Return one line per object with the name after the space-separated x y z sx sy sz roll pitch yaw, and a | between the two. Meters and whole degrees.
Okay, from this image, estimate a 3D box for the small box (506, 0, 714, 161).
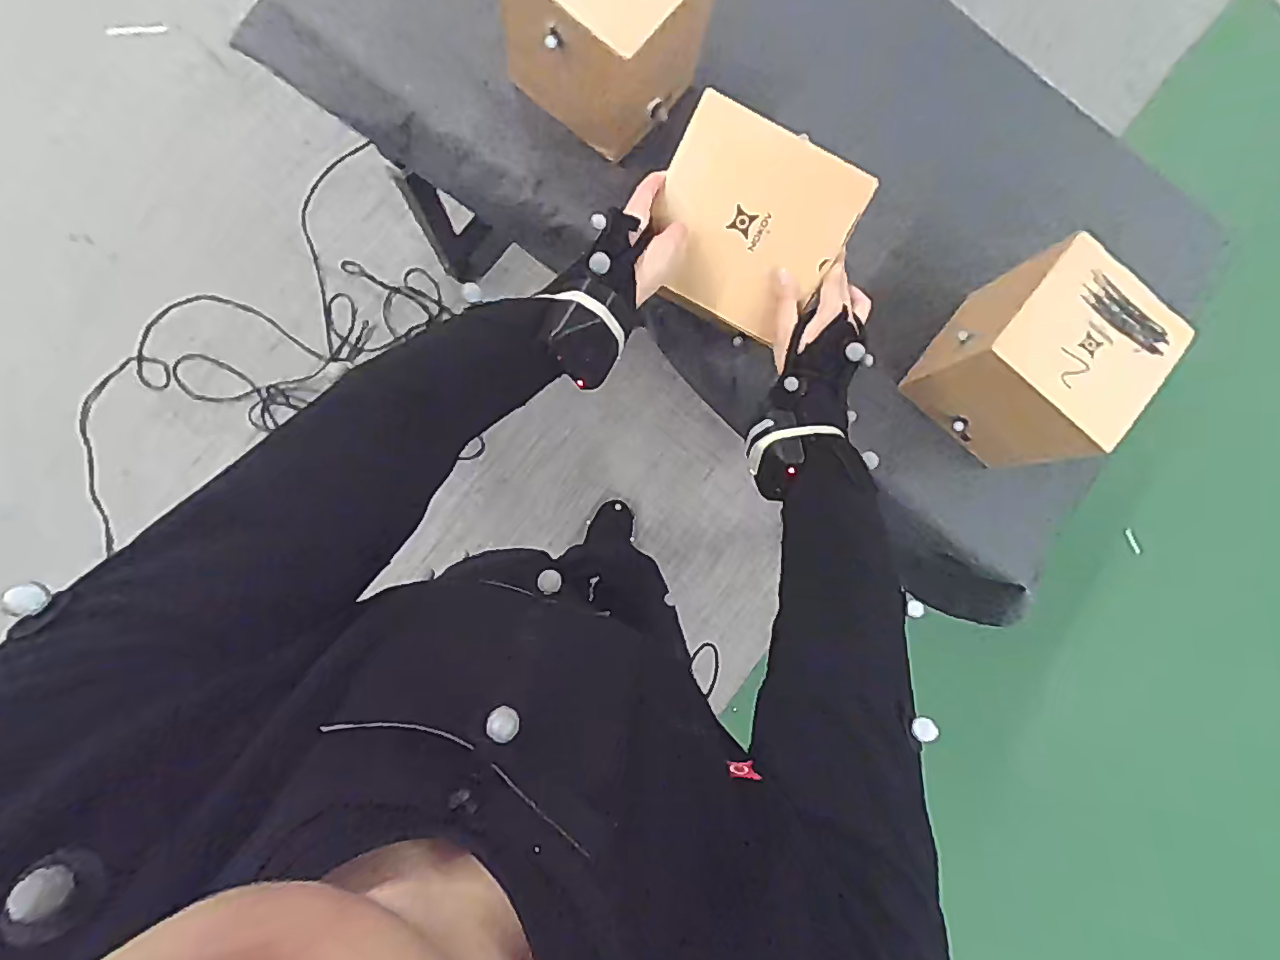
-0.039 -0.516 0.614 0.179 0.176 0.168 39 83 -3 | small box

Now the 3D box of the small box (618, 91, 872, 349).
0.098 -0.246 0.565 0.179 0.176 0.168 28 104 -1 | small box
